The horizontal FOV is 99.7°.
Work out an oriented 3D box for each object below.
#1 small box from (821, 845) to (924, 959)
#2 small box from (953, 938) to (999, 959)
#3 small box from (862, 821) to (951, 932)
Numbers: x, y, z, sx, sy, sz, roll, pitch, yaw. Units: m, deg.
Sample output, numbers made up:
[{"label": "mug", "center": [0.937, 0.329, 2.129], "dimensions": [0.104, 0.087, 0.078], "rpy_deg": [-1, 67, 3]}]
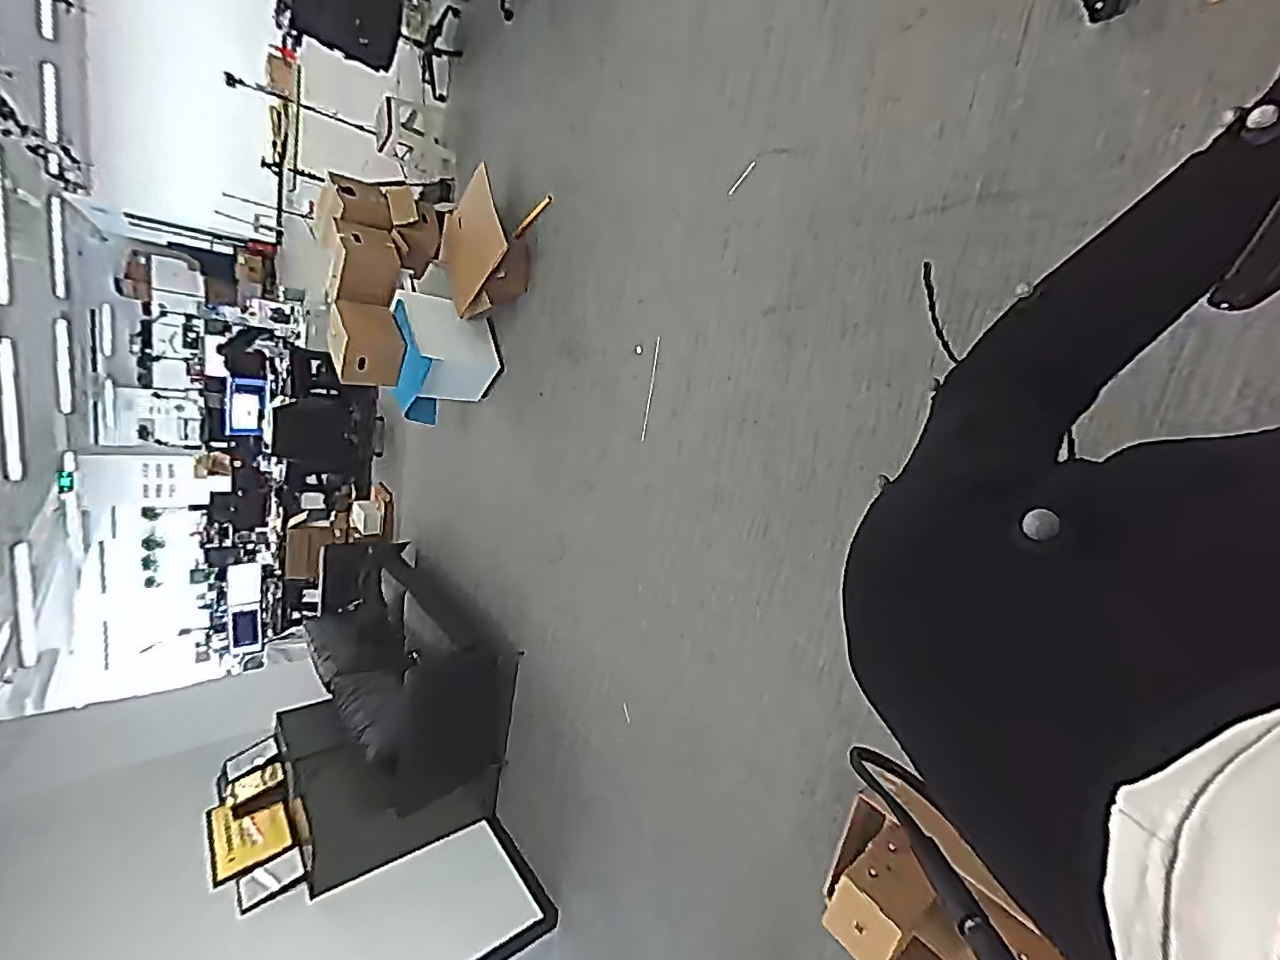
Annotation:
[{"label": "small box", "center": [0.615, 1.114, 1.421], "dimensions": [0.168, 0.176, 0.179], "rpy_deg": [31, 113, 46]}, {"label": "small box", "center": [0.783, 1.213, 1.229], "dimensions": [0.168, 0.176, 0.179], "rpy_deg": [21, 106, 48]}, {"label": "small box", "center": [0.736, 1.108, 1.530], "dimensions": [0.179, 0.176, 0.168], "rpy_deg": [30, 113, 44]}]
